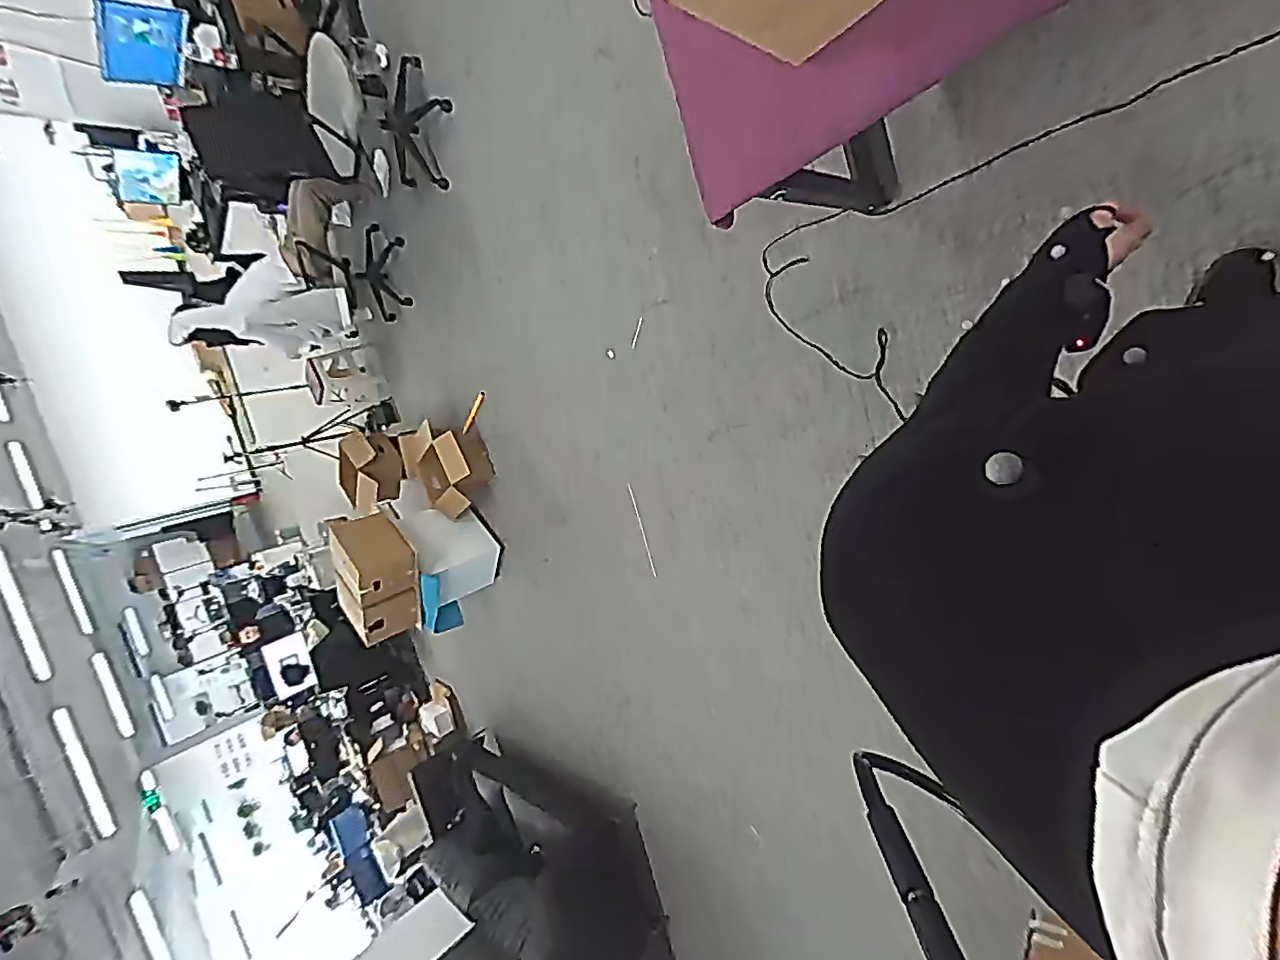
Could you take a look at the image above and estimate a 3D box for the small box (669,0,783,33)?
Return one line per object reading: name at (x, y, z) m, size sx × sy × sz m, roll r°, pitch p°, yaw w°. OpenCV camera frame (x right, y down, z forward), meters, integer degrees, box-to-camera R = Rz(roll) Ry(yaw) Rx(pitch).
small box at (0.118, -0.665, 0.608) m, size 0.179 × 0.176 × 0.168 m, roll -14°, pitch 95°, yaw 48°
